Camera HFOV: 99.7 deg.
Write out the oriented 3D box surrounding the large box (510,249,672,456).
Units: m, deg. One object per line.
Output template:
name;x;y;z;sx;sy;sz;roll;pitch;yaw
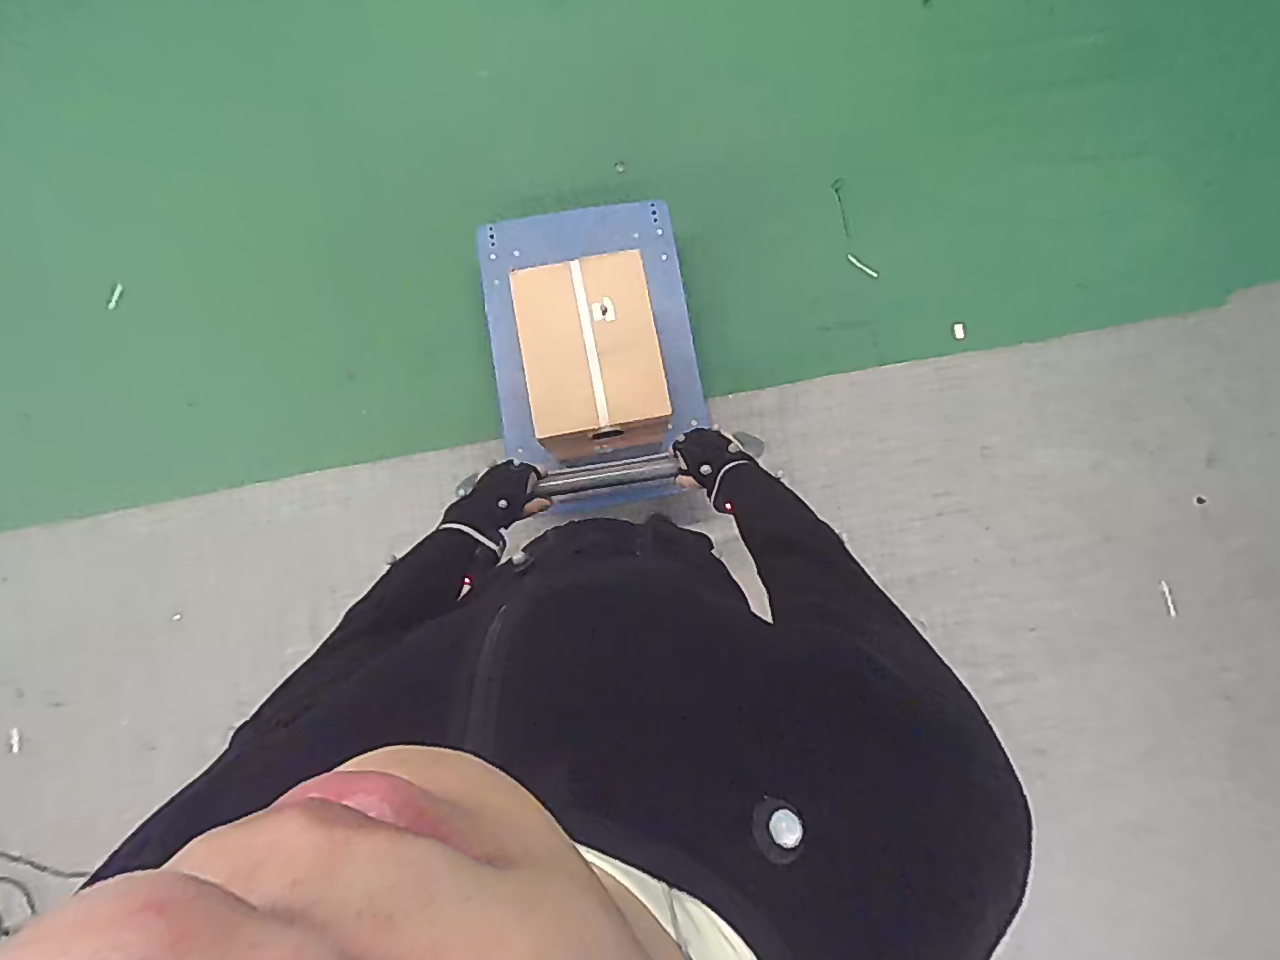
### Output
large box;-0.114;-0.303;1.390;0.320;0.320;0.408;-11;83;-2
